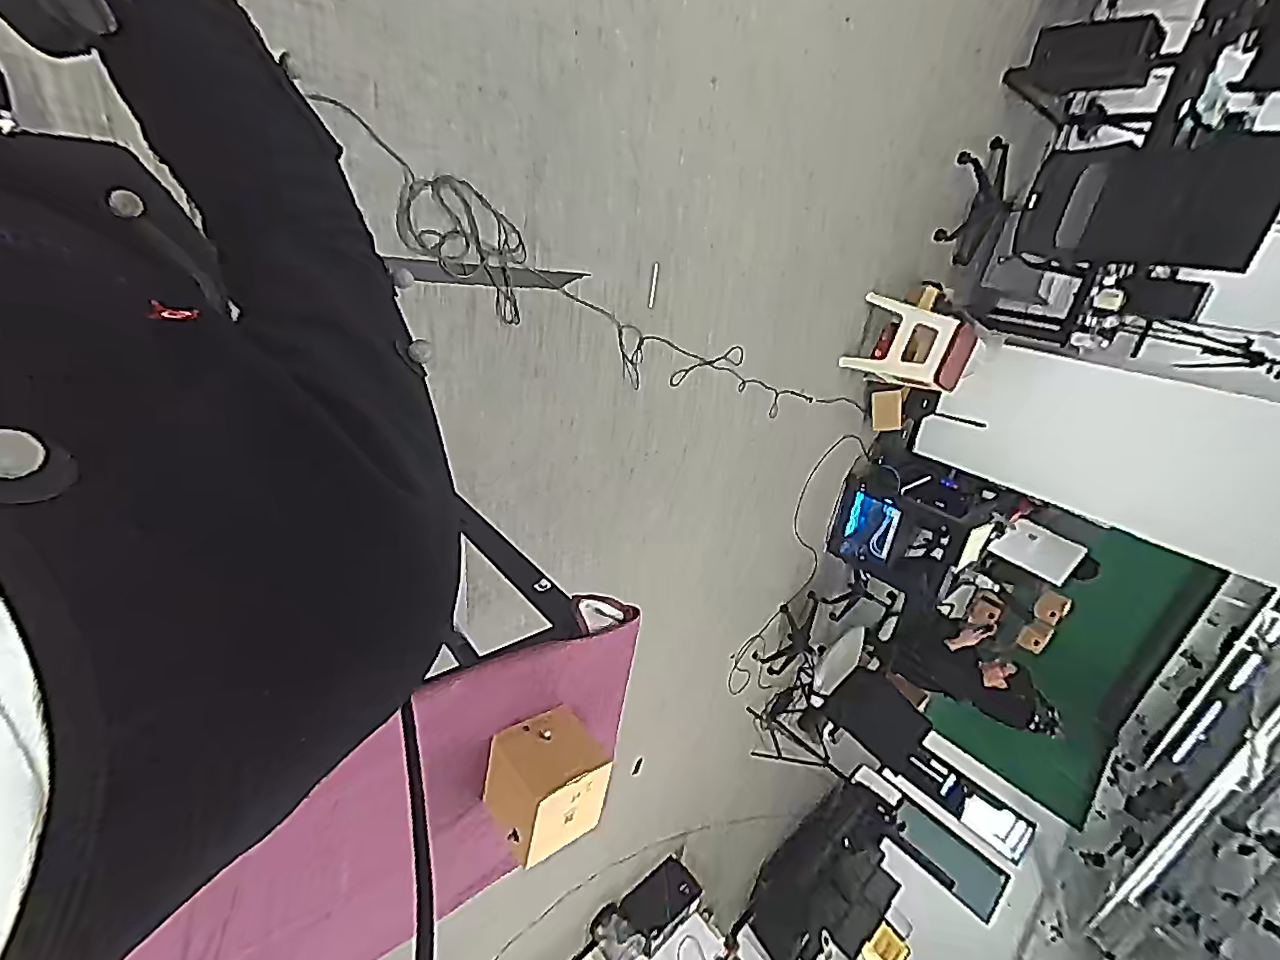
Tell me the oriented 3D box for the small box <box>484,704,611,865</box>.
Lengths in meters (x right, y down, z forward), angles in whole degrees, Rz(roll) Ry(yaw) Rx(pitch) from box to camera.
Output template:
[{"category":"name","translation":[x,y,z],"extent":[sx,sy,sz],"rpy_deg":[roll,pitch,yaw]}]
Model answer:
[{"category":"small box","translation":[-0.185,0.574,1.044],"extent":[0.168,0.176,0.179],"rpy_deg":[-6,116,-44]}]
